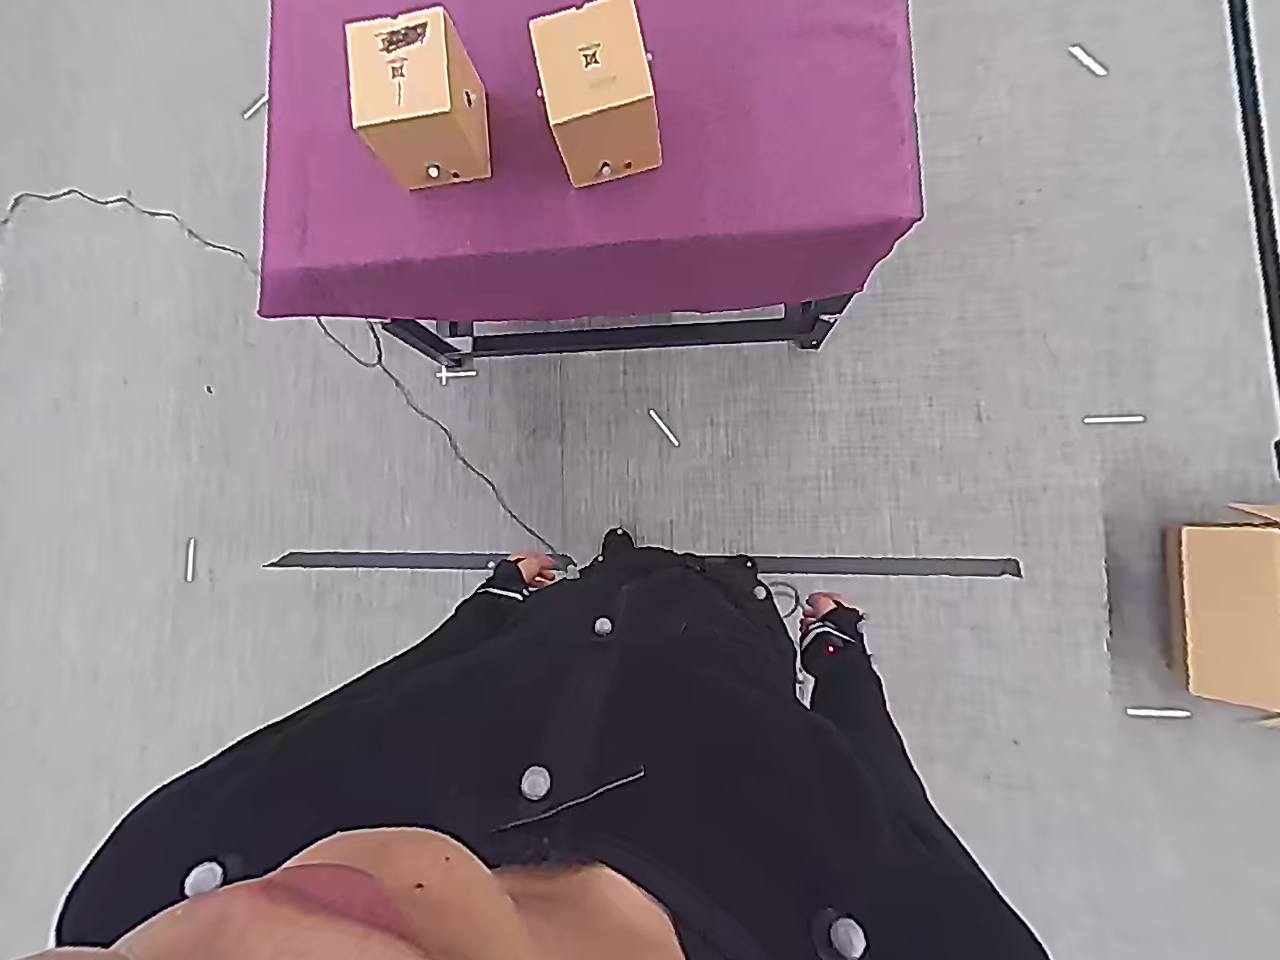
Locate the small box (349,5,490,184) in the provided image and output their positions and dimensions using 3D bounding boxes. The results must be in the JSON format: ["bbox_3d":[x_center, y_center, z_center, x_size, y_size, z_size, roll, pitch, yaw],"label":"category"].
[{"bbox_3d":[-0.371,-0.649,0.930,0.168,0.176,0.179,-6,86,6],"label":"small box"}]

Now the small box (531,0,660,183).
[{"bbox_3d":[-0.066,-0.639,0.897,0.168,0.176,0.179,-12,84,6],"label":"small box"}]
